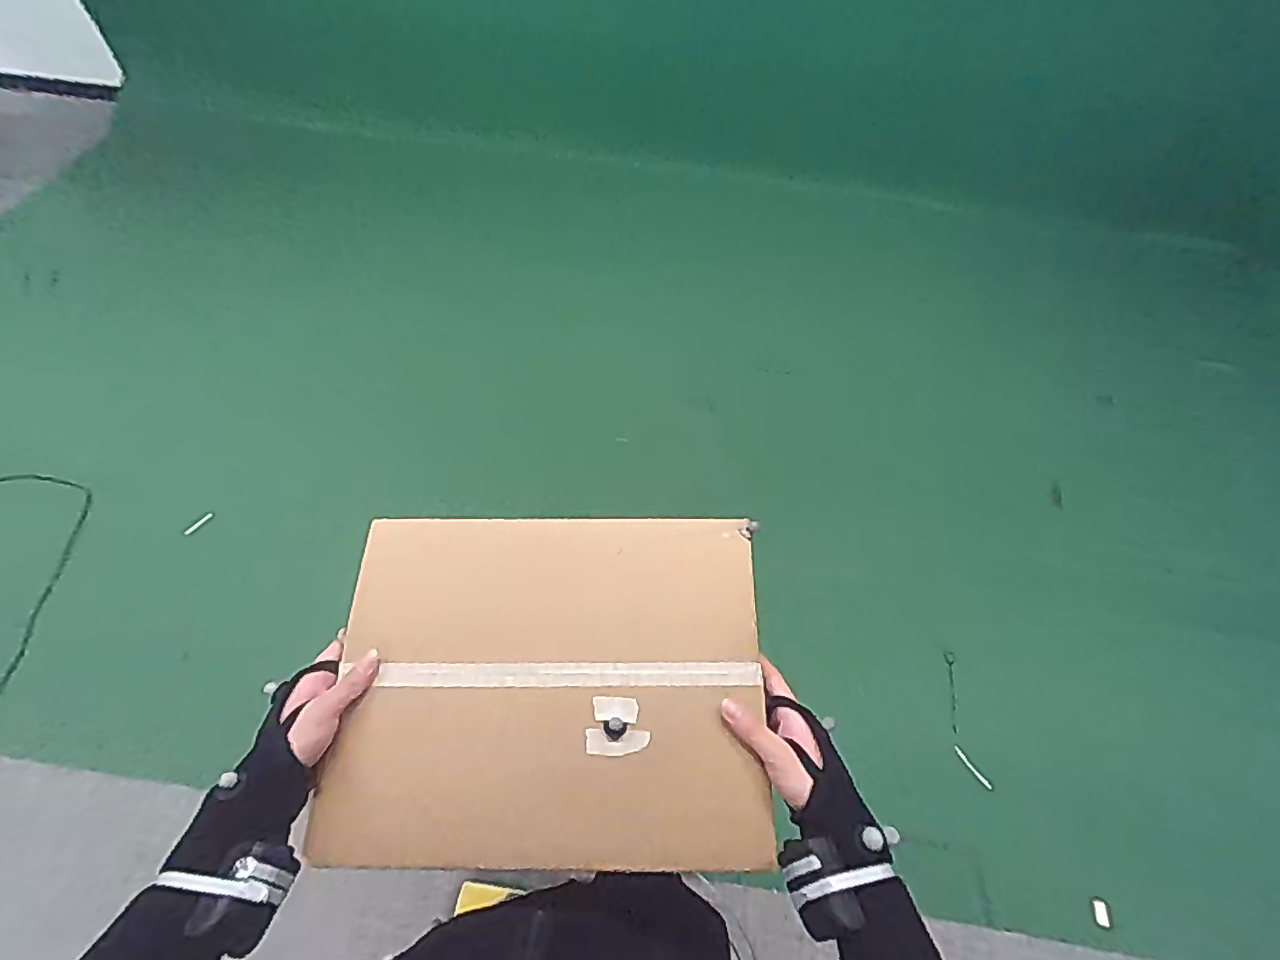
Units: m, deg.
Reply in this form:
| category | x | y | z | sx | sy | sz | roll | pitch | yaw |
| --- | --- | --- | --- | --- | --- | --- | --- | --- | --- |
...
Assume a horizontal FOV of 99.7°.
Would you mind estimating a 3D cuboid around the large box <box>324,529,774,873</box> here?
| category | x | y | z | sx | sy | sz | roll | pitch | yaw |
| --- | --- | --- | --- | --- | --- | --- | --- | --- | --- |
| large box | -0.082 | 0.258 | 0.666 | 0.408 | 0.320 | 0.320 | 0 | 67 | 0 |
